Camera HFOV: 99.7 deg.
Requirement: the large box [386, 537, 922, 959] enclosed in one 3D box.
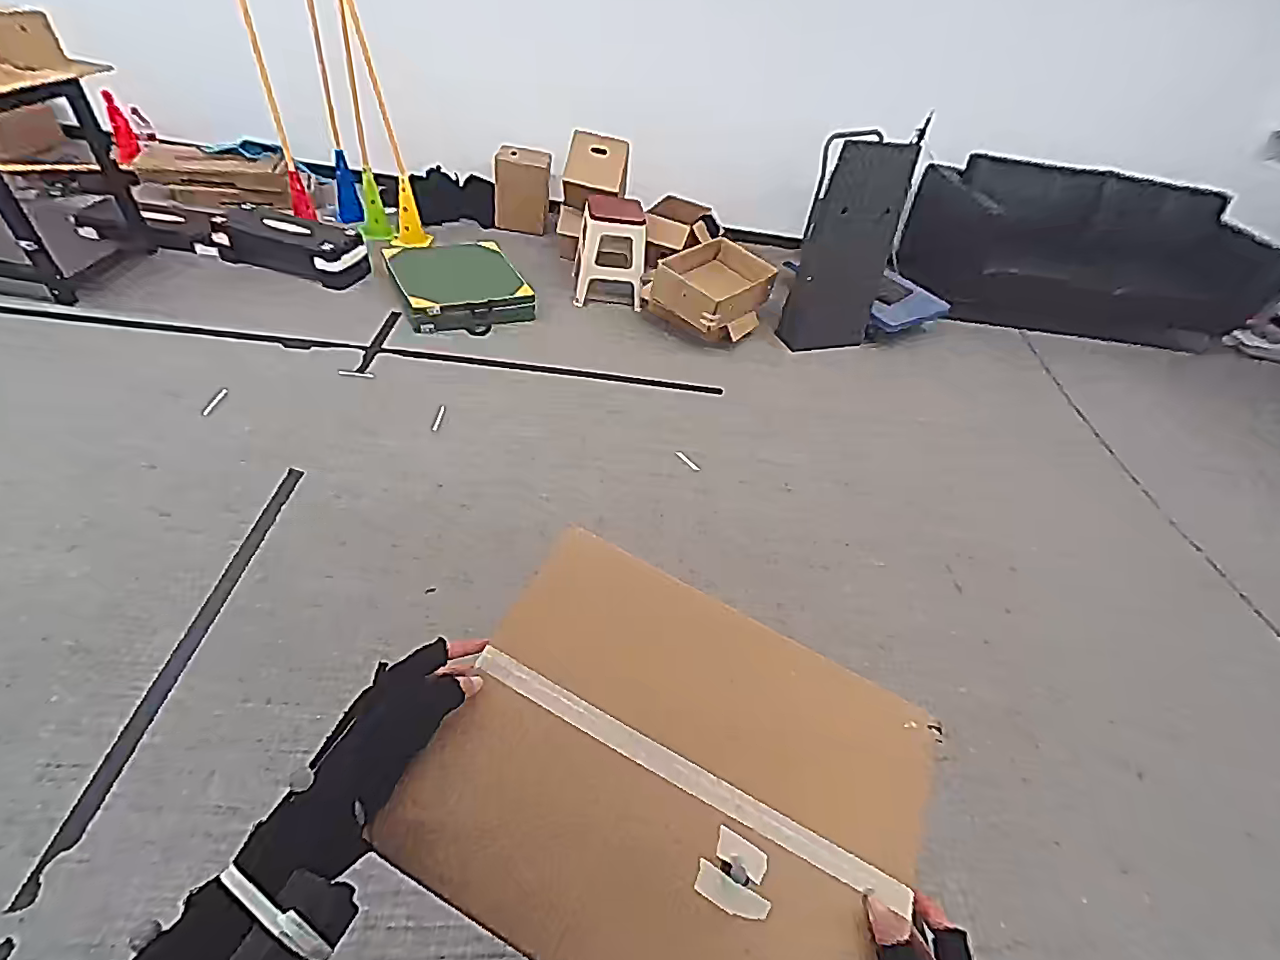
[{"bbox_3d":[0.015,0.333,0.603,0.408,0.320,0.320,28,59,8],"label":"large box"}]
